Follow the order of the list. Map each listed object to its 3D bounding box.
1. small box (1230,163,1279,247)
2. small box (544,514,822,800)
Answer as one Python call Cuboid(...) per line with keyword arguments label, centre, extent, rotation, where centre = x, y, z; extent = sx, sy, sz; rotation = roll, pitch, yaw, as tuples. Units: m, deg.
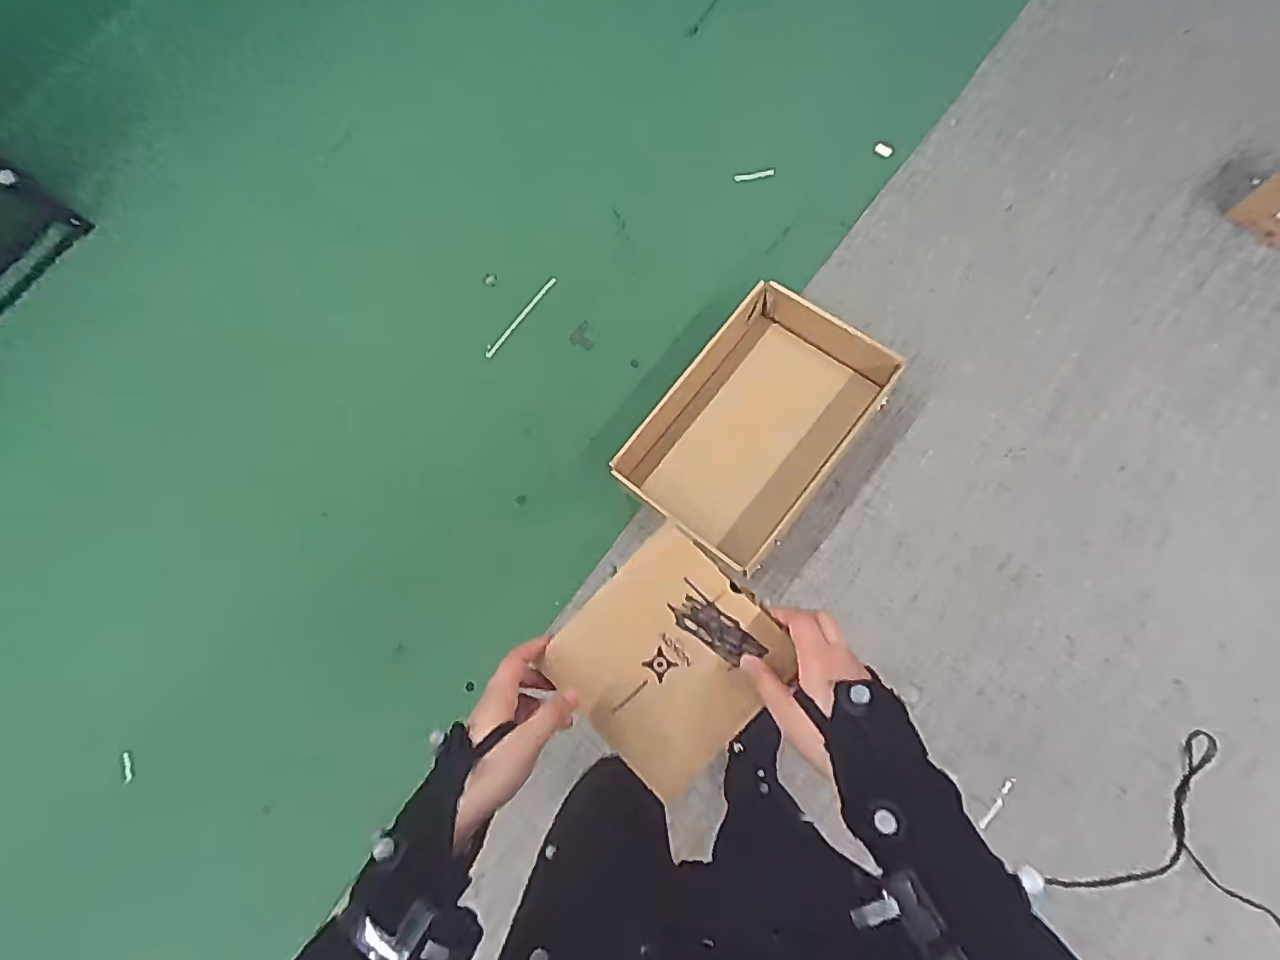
Cuboid(label="small box", centre=(1.583, -0.694, 1.280), extent=(0.179, 0.176, 0.168), rotation=(-41, 73, -3))
Cuboid(label="small box", centre=(0.039, 0.151, 0.526), extent=(0.168, 0.176, 0.179), rotation=(44, 89, 8))
